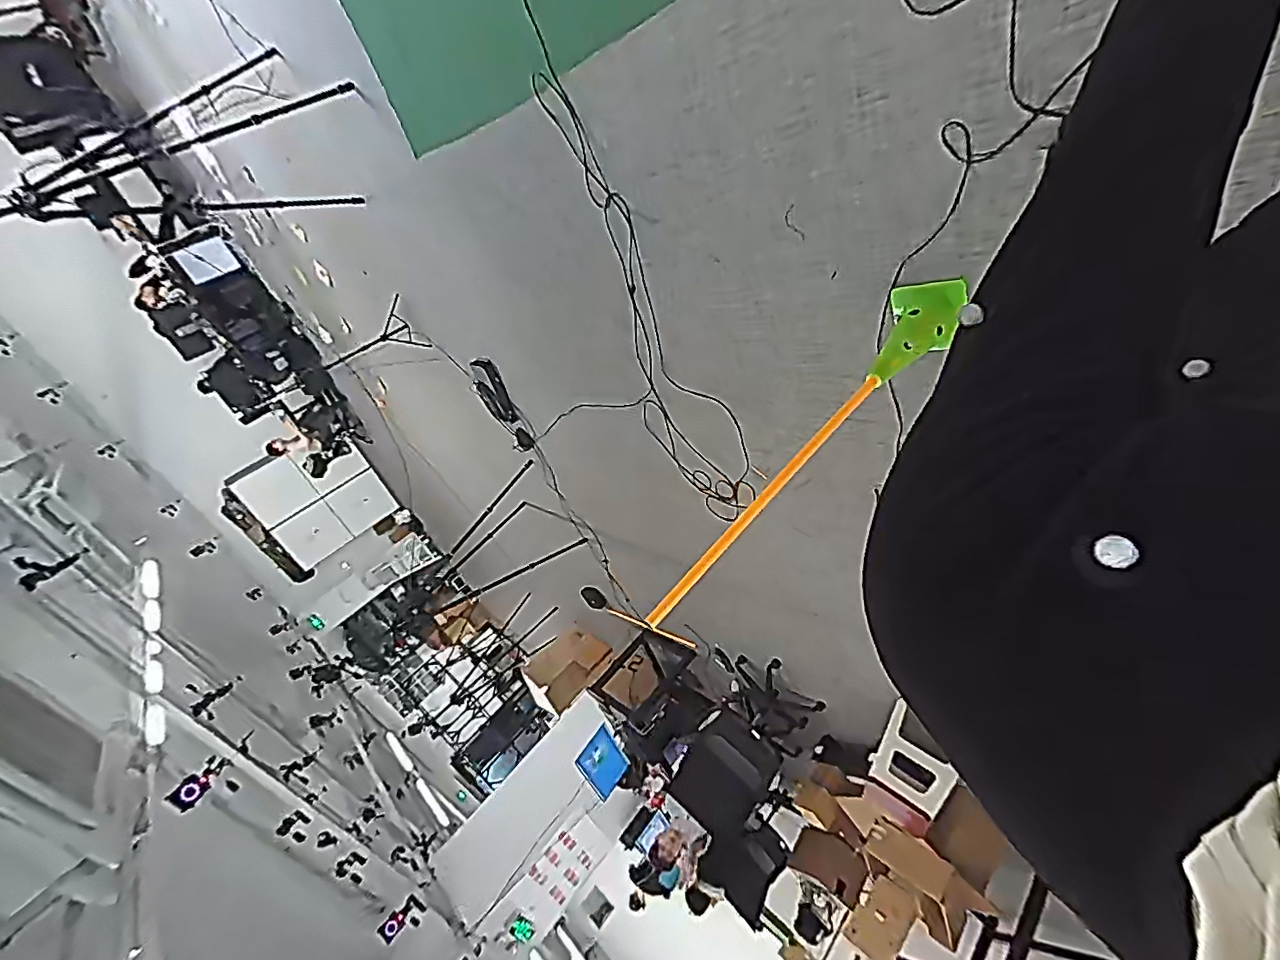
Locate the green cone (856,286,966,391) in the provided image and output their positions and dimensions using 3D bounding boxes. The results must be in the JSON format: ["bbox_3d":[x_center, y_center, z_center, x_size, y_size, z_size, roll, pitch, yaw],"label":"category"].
[{"bbox_3d":[0.696,-0.350,1.458,0.202,0.368,0.200,13,135,50],"label":"green cone"}]
